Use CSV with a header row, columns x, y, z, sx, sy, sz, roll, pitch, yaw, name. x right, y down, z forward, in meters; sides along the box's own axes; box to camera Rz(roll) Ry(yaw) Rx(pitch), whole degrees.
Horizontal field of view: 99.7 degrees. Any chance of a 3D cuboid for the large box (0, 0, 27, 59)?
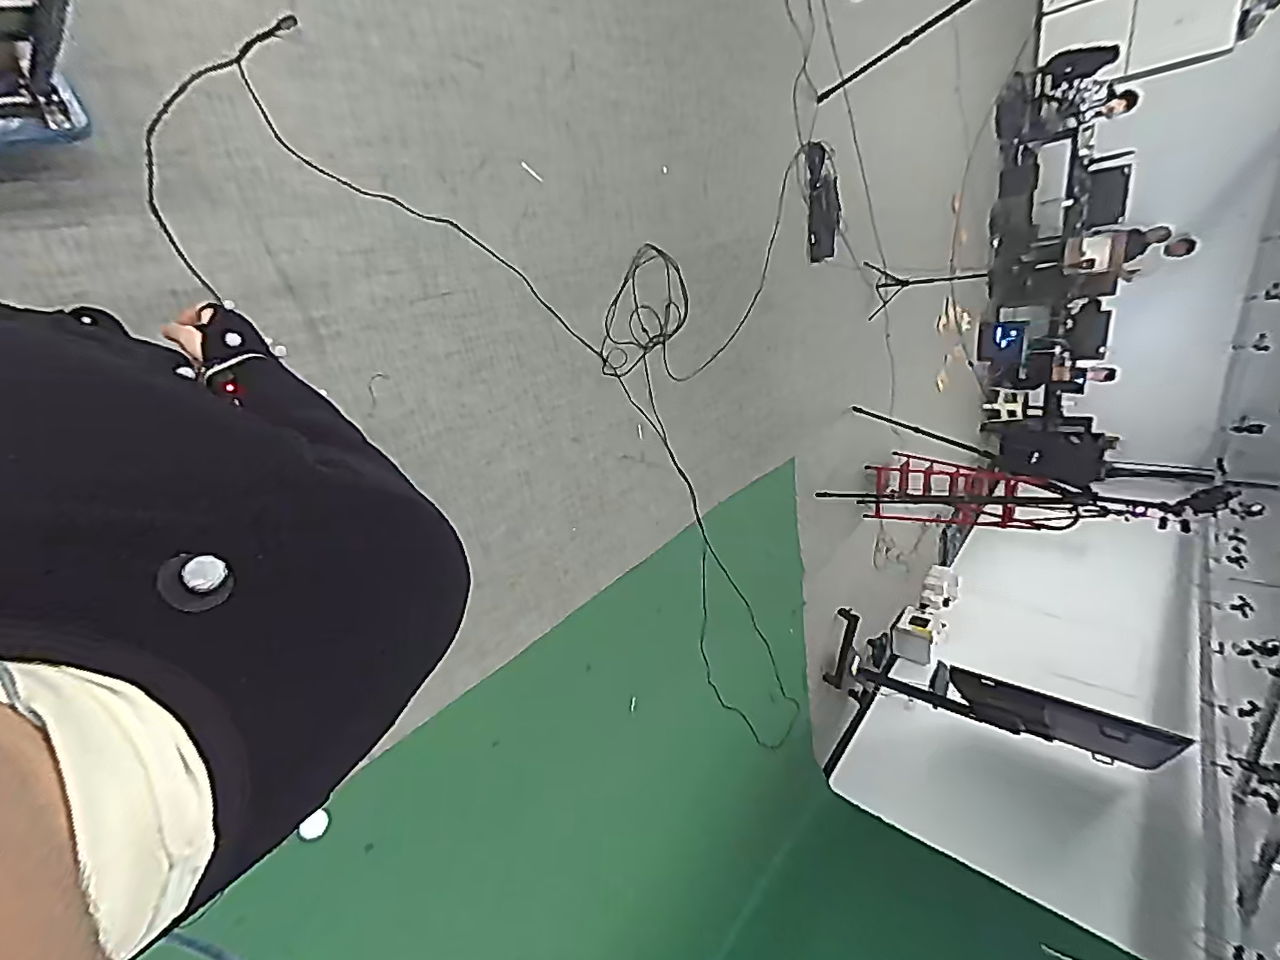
x,y,z,sx,sy,sz,roll,pitch,yaw,name
-1.097,-0.794,0.656,0.320,0.320,0.408,-38,124,-36,large box
